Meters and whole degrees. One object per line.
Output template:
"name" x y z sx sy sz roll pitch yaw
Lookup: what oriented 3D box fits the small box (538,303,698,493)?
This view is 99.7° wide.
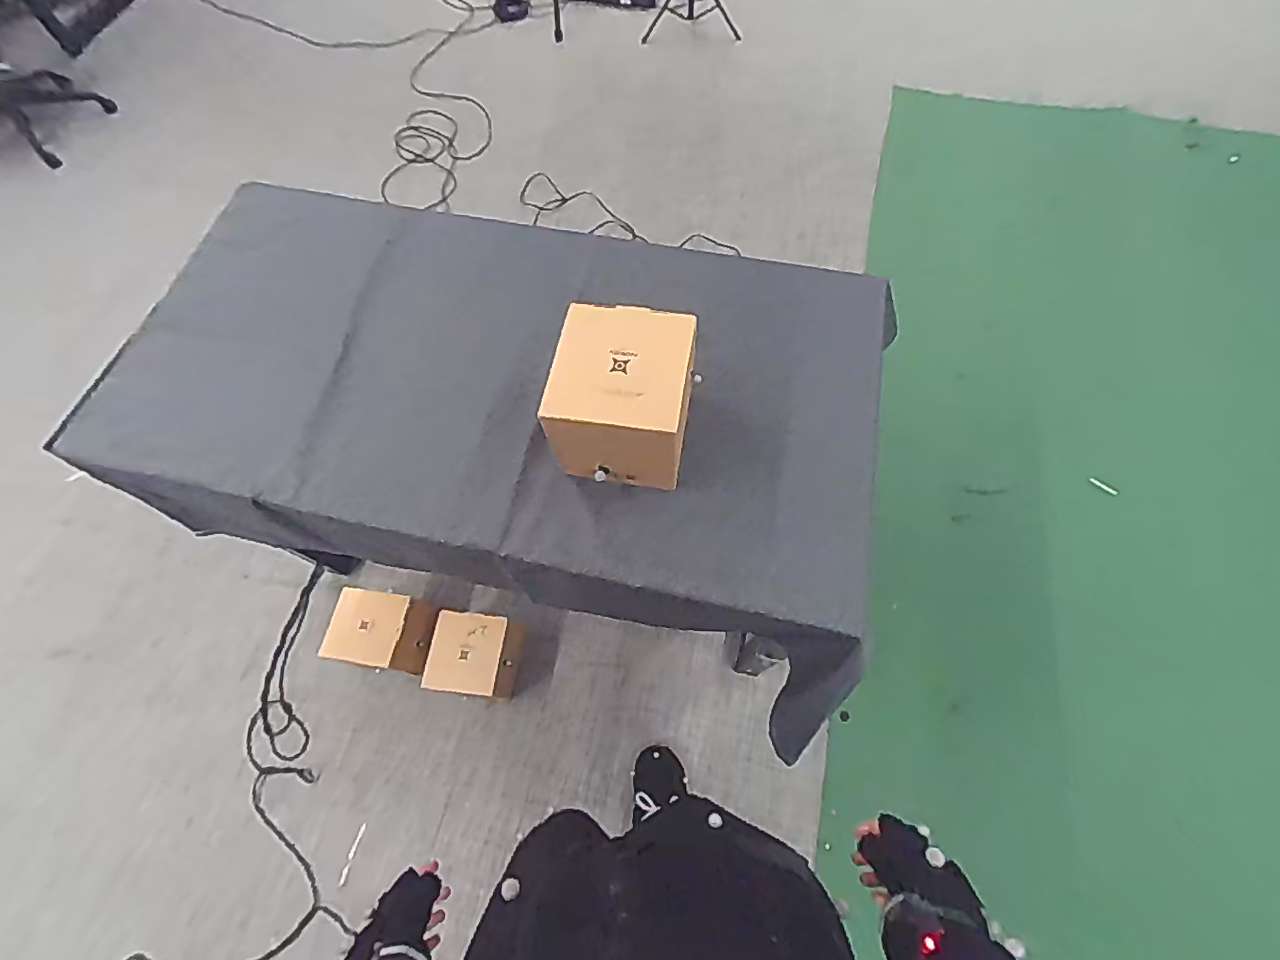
"small box" -0.020 -0.103 0.718 0.168 0.176 0.179 8 66 7
